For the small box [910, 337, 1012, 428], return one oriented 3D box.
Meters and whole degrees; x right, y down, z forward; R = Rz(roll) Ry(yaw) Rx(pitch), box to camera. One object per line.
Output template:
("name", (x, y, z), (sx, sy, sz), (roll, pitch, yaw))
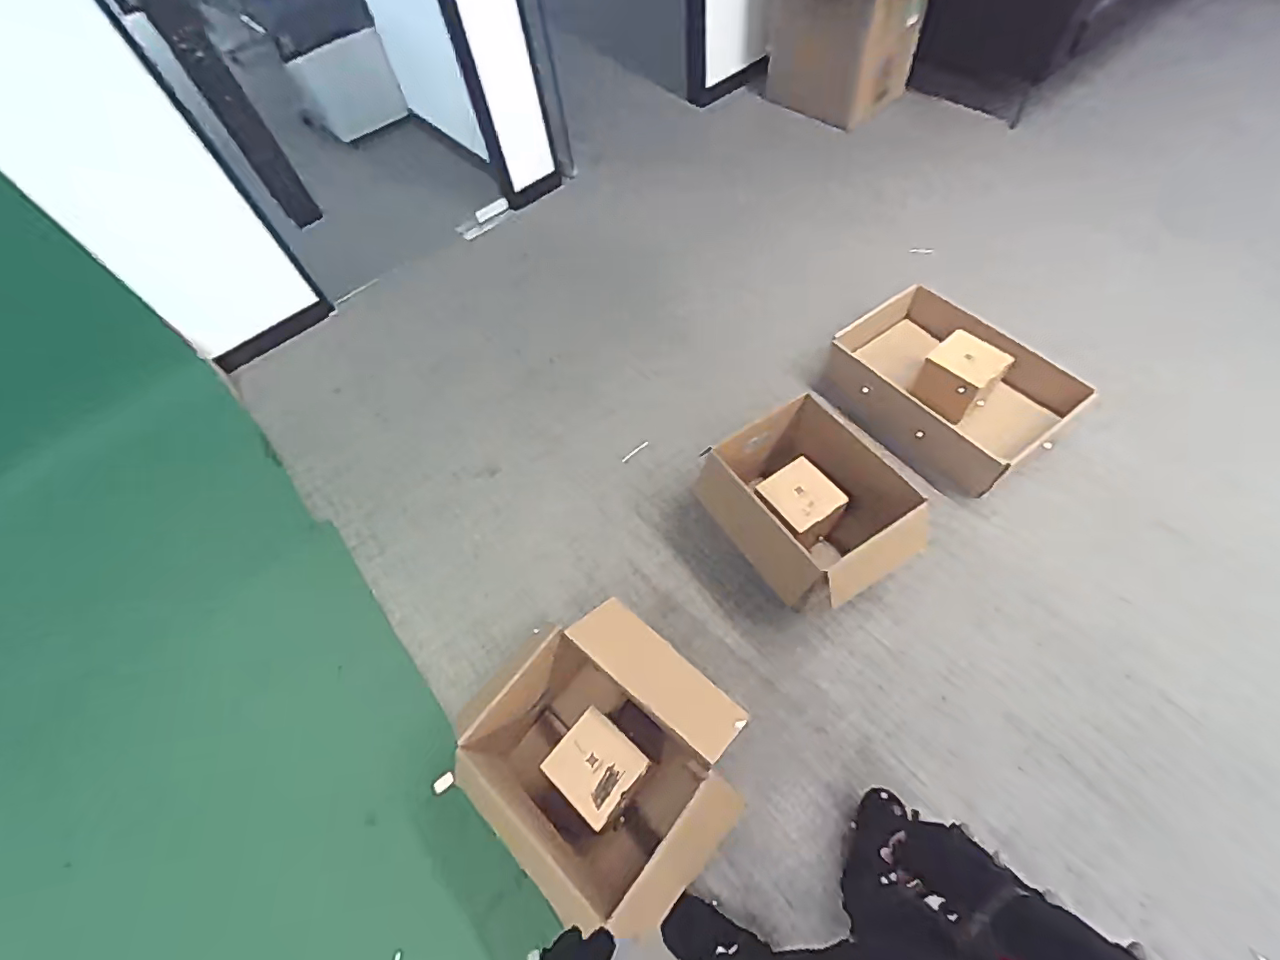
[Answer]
("small box", (0.949, -0.288, 1.618), (0.168, 0.176, 0.179), (-37, 61, -16))
